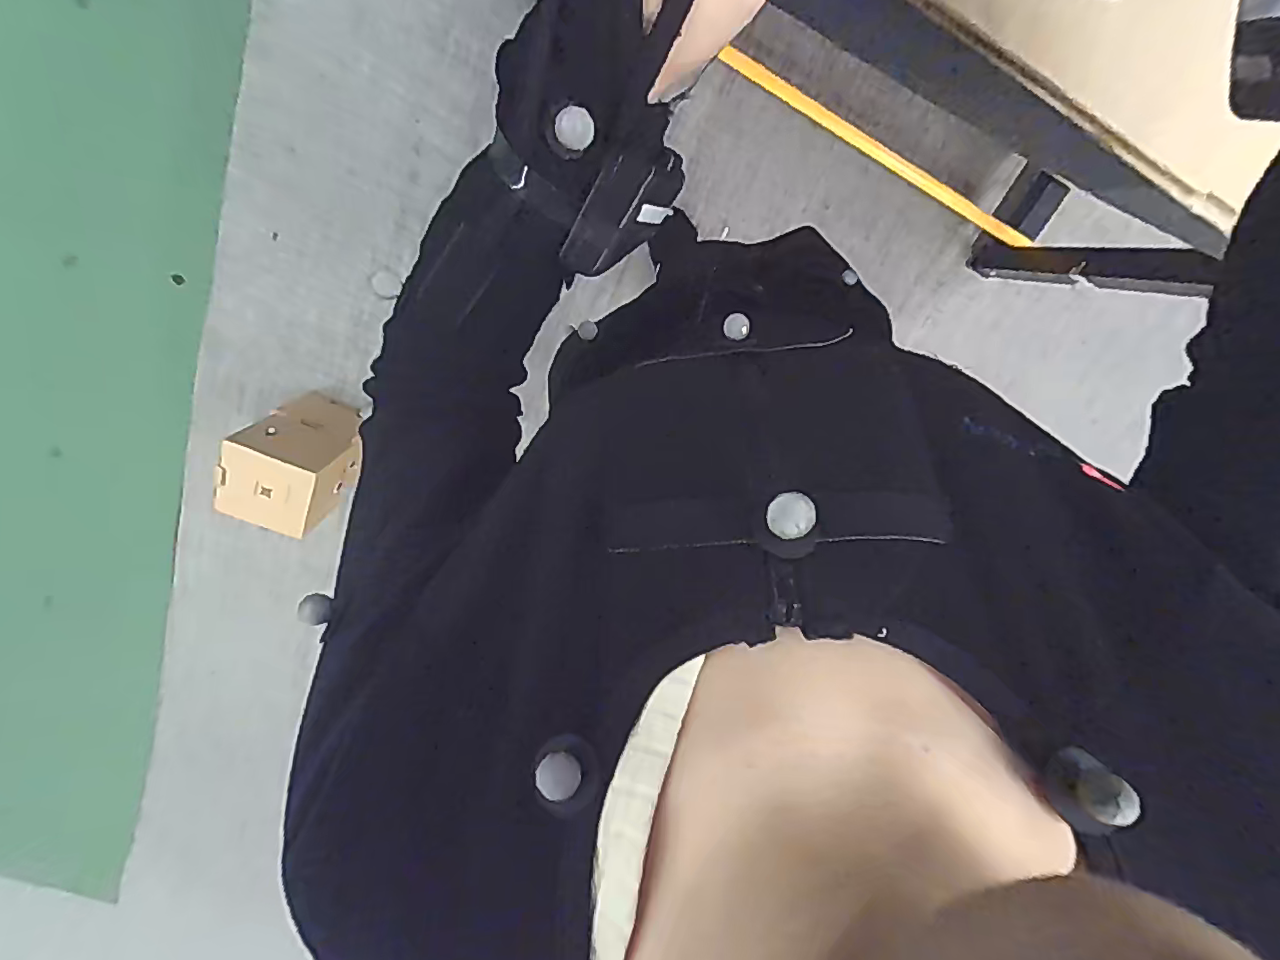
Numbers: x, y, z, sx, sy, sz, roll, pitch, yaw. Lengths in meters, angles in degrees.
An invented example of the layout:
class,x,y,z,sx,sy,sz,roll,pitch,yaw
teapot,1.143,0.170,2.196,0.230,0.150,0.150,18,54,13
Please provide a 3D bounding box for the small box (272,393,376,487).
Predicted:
class,x,y,z,sx,sy,sz,roll,pitch,yaw
small box,-0.753,-0.084,1.278,0.168,0.176,0.179,25,112,-11

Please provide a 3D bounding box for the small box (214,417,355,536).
class,x,y,z,sx,sy,sz,roll,pitch,yaw
small box,-0.735,-0.016,1.131,0.179,0.176,0.168,22,113,-11
